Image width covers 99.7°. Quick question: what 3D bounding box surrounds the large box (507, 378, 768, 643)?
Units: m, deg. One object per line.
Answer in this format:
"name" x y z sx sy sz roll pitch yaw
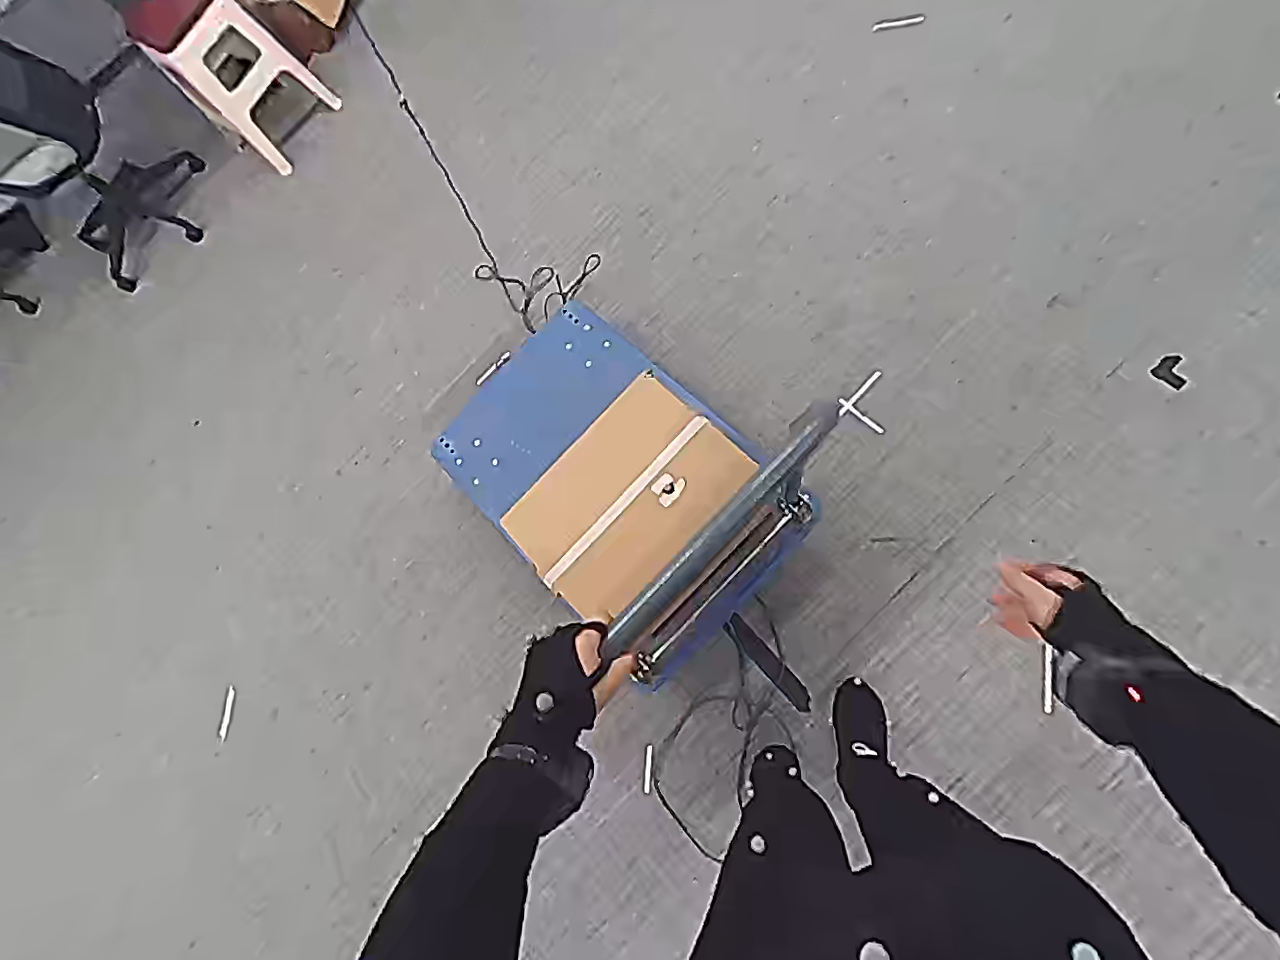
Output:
"large box" 0.016 0.082 1.119 0.408 0.320 0.320 -46 70 -1
